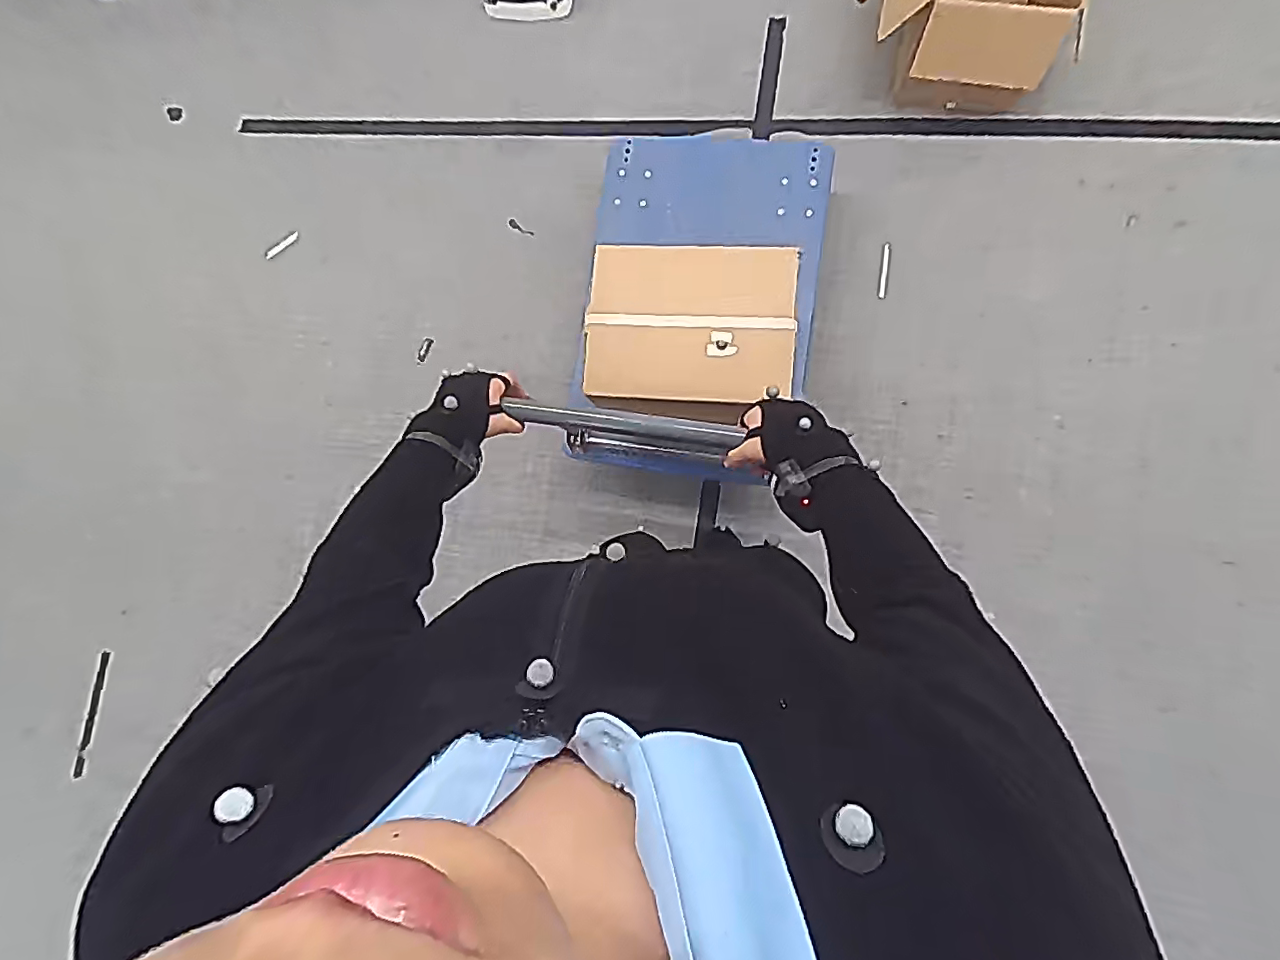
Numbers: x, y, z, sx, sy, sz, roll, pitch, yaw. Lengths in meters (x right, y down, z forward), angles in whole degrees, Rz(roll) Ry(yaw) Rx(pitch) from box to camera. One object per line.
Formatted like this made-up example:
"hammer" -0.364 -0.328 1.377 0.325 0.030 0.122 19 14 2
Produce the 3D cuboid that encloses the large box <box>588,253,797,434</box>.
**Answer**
"large box" 0.118 -0.287 1.213 0.408 0.320 0.320 4 85 7
